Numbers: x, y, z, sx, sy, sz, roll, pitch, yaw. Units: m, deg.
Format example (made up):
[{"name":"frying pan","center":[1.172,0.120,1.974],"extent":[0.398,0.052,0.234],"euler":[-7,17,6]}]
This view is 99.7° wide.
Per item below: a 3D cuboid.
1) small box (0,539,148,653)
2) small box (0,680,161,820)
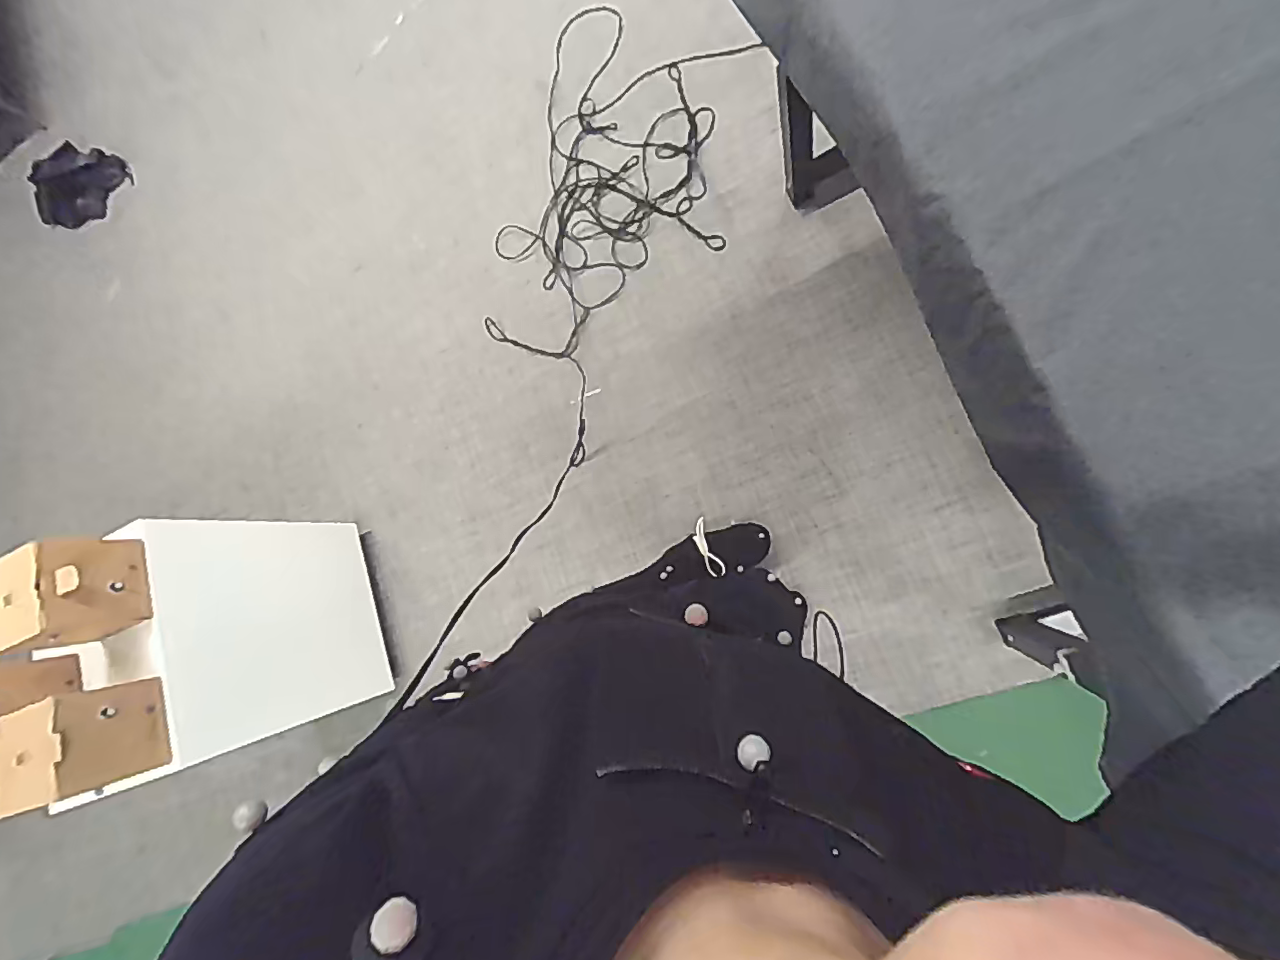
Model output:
[{"name":"small box","center":[-1.087,0.217,1.021],"extent":[0.179,0.176,0.168],"euler":[-22,78,15]},{"name":"small box","center":[-1.002,0.474,0.967],"extent":[0.179,0.176,0.168],"euler":[-22,77,16]}]
